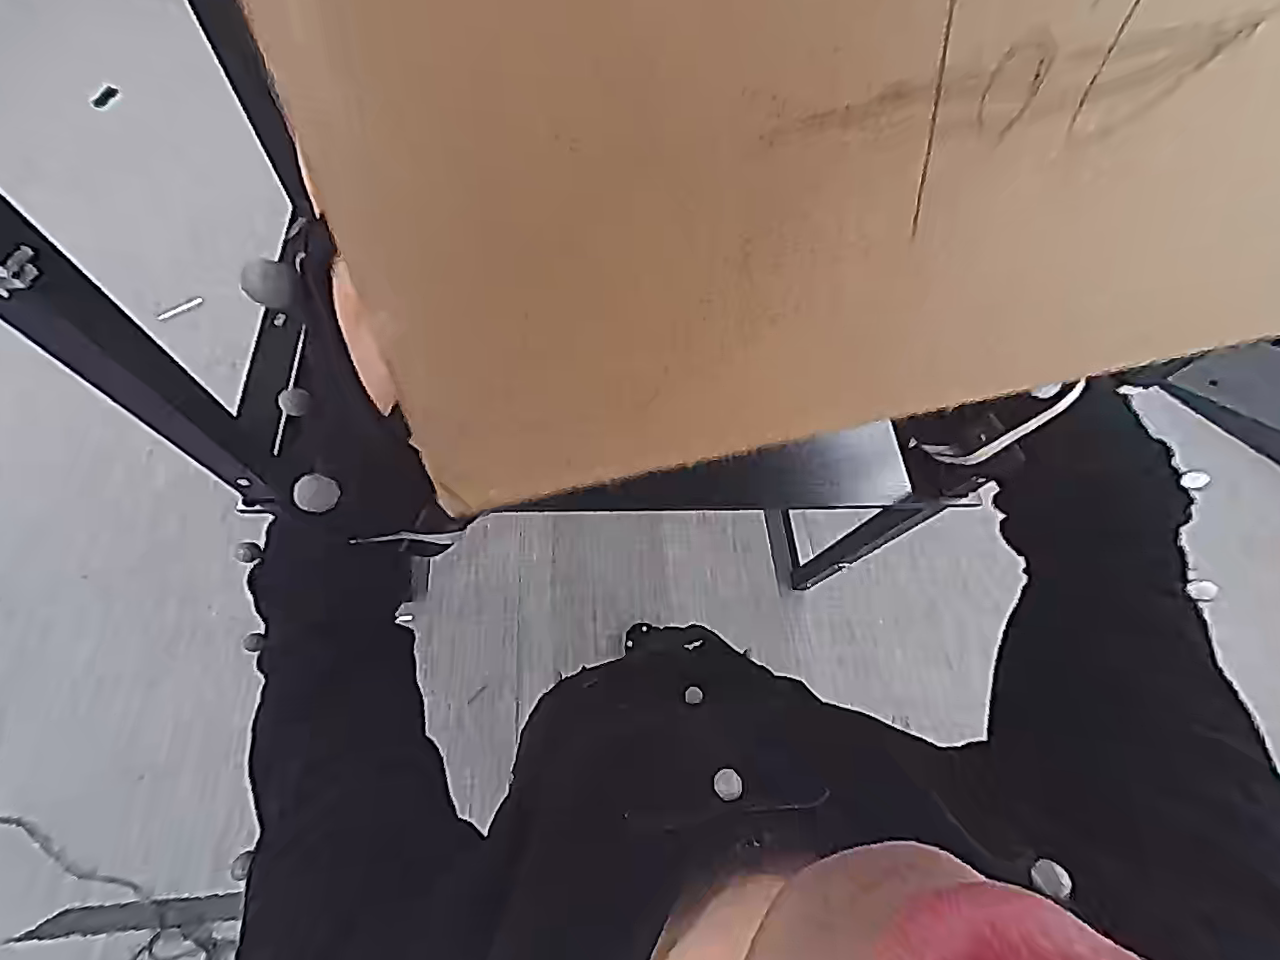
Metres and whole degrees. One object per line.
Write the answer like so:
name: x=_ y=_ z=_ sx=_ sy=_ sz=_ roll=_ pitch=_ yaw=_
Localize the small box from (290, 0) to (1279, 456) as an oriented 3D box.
small box: x=0.027 y=-0.131 z=0.112 sx=0.168 sy=0.179 sz=0.176 roll=-12 pitch=31 yaw=-3
